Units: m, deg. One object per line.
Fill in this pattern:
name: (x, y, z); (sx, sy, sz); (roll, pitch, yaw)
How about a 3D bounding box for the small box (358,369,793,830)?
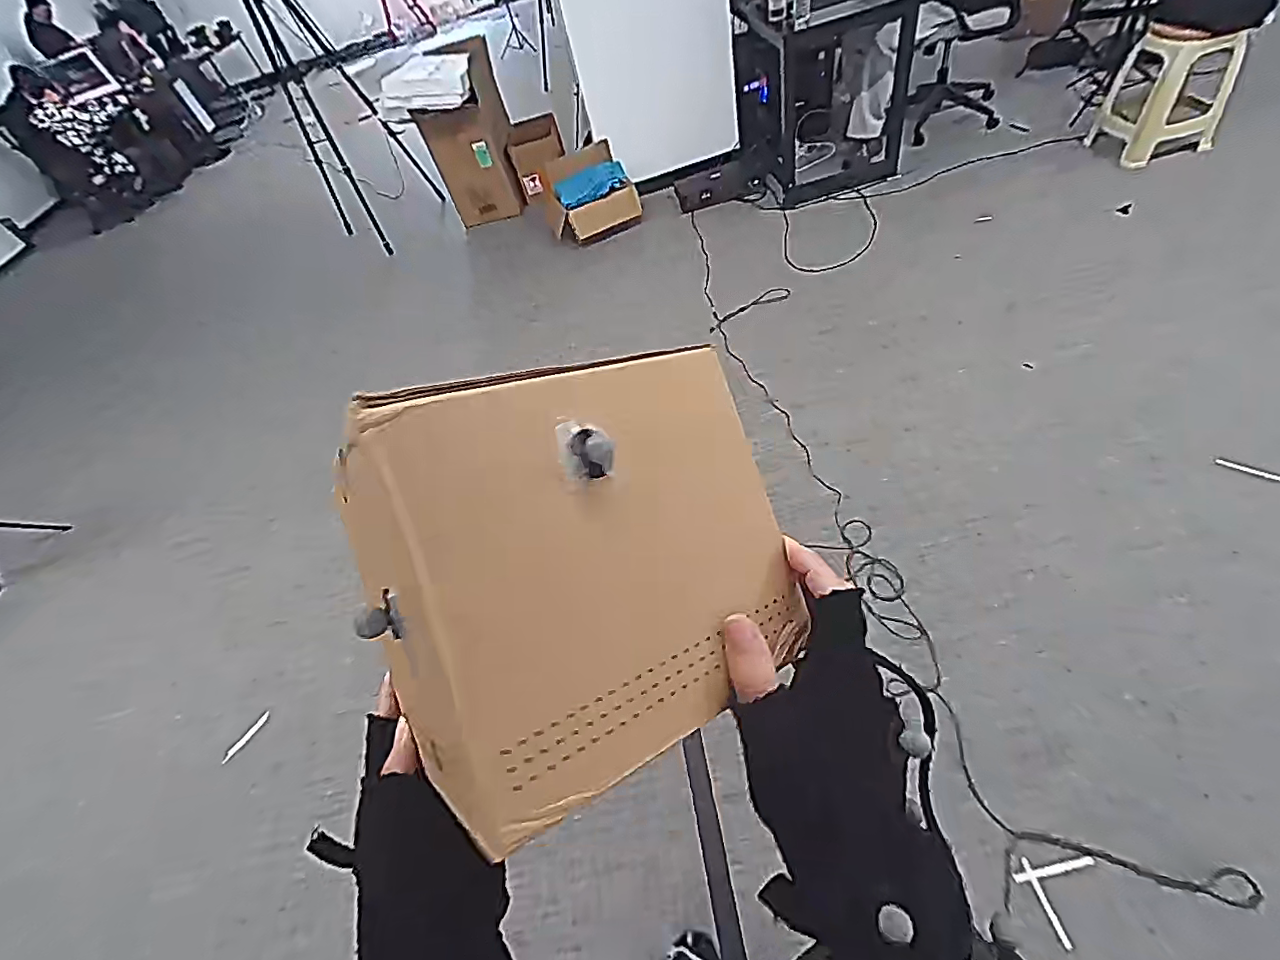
small box: (-0.044, 0.057, 0.313); (0.179, 0.168, 0.176); (-17, 86, -31)
